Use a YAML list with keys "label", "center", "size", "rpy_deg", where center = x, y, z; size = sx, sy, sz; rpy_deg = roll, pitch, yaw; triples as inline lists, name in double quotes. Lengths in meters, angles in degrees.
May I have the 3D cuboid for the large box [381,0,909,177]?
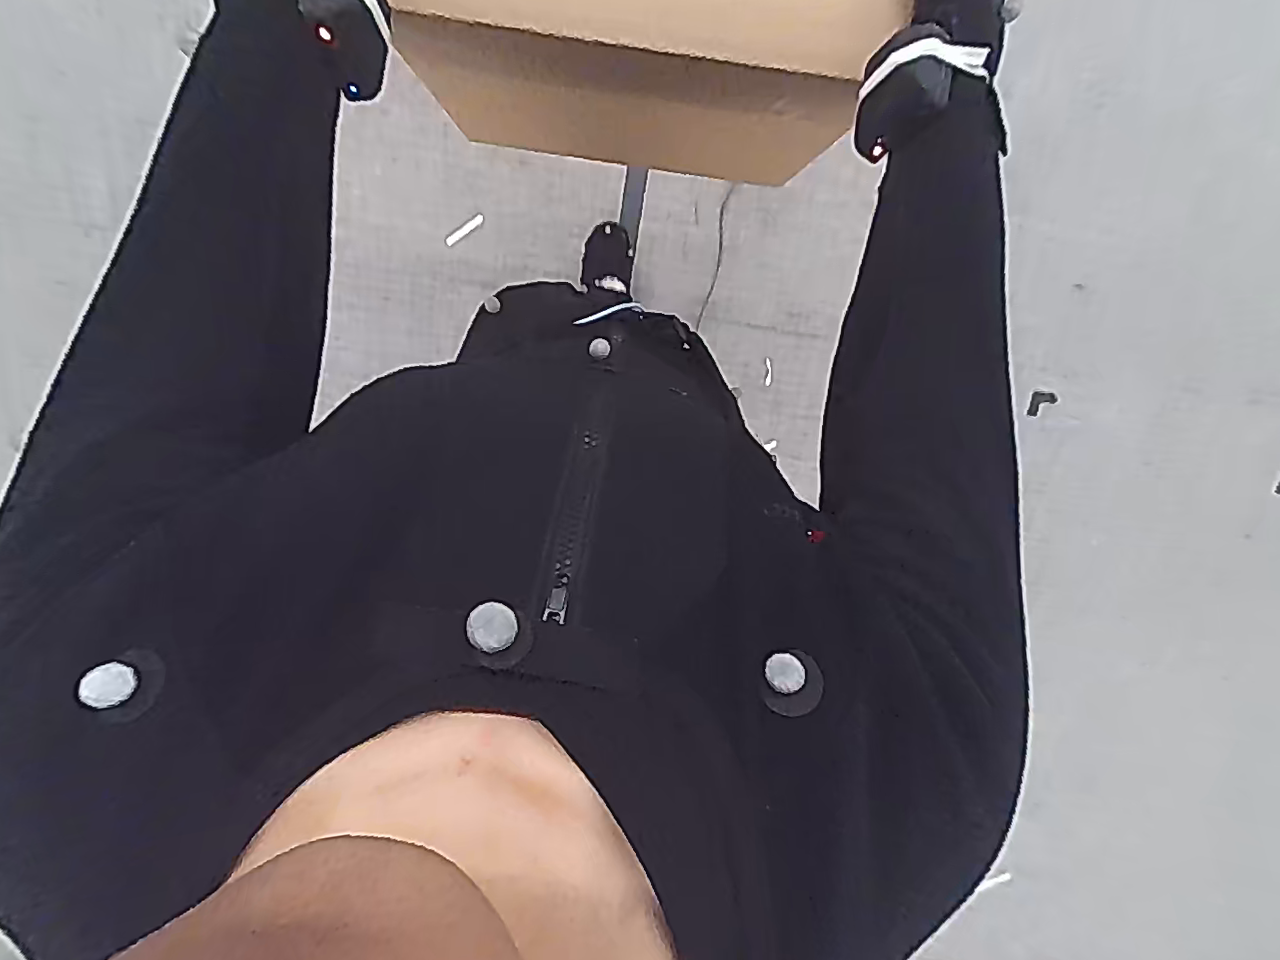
- label: "large box"
  center: [0.009, -0.516, 0.512]
  size: [0.408, 0.320, 0.320]
  rpy_deg: [5, 106, -5]
